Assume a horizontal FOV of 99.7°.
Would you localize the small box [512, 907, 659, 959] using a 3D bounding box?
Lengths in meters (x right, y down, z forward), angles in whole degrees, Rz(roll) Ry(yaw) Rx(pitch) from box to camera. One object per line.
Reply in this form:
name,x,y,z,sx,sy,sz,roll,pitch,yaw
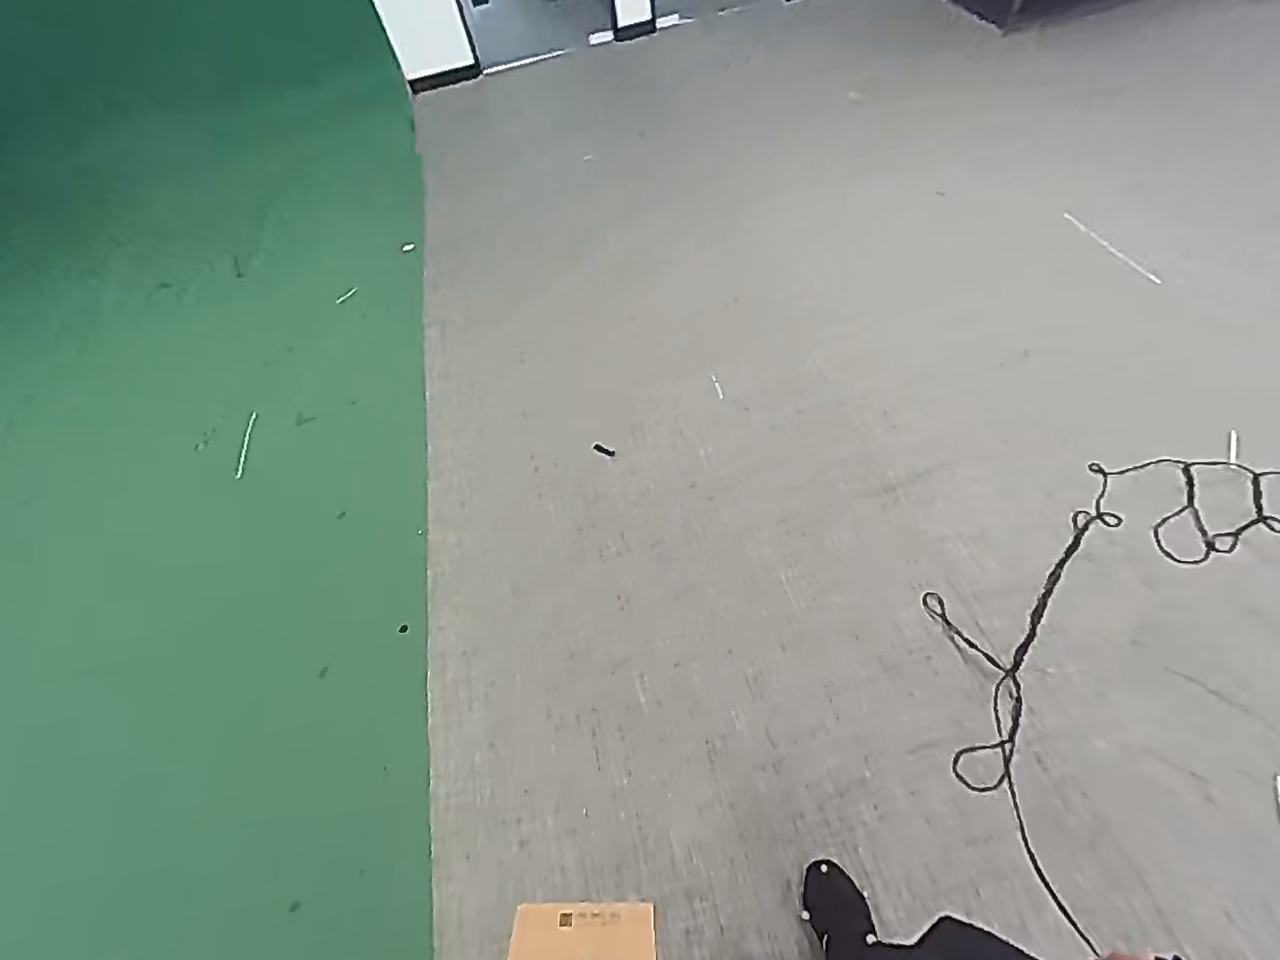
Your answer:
small box,-0.062,0.611,0.594,0.168,0.179,0.176,2,18,-4
